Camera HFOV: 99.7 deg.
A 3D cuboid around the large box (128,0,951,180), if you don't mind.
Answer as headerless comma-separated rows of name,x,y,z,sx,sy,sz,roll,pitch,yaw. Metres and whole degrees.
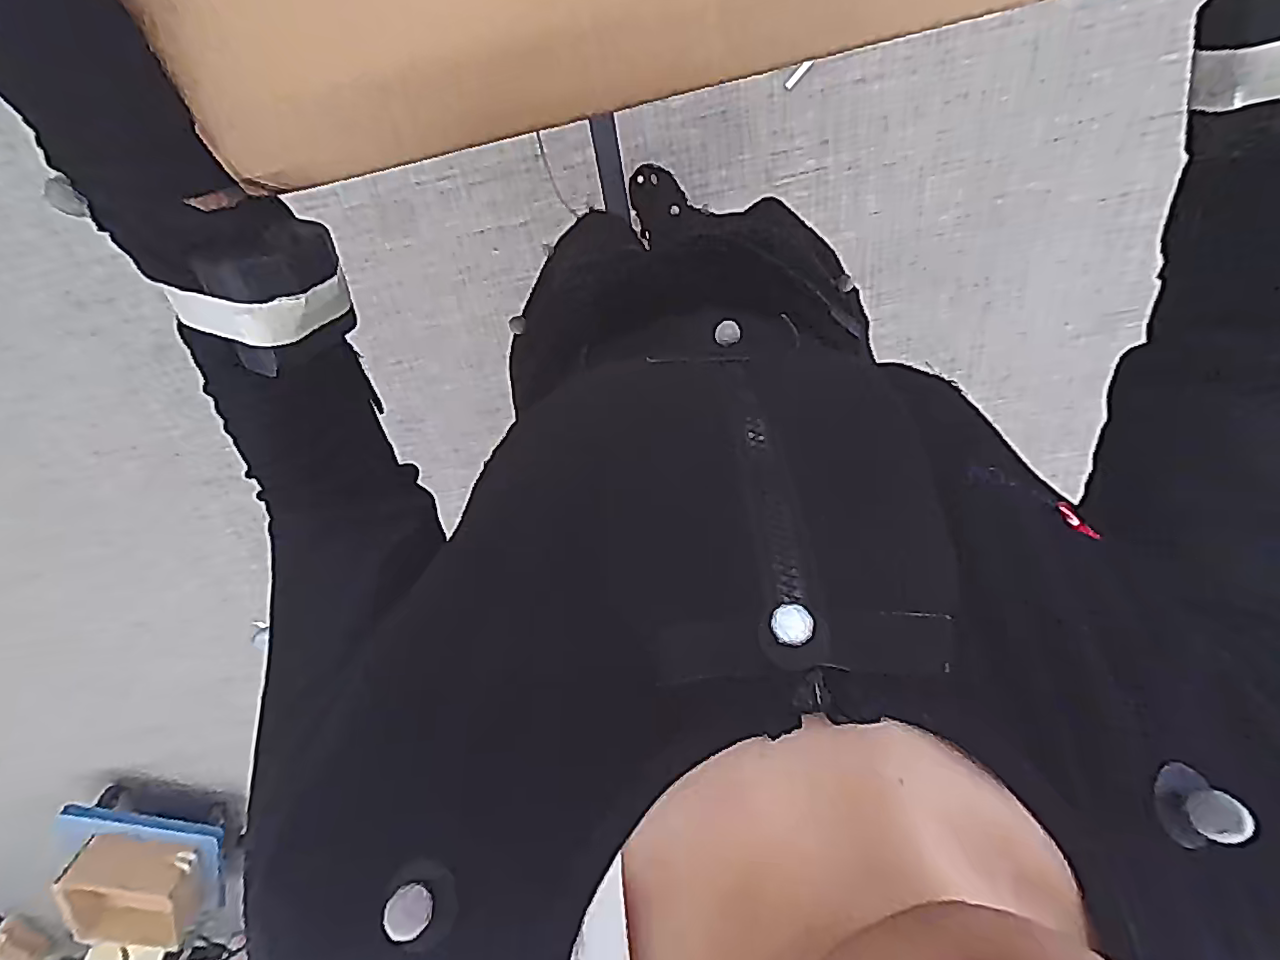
large box,-0.016,-0.378,0.194,0.408,0.320,0.320,-9,141,7
